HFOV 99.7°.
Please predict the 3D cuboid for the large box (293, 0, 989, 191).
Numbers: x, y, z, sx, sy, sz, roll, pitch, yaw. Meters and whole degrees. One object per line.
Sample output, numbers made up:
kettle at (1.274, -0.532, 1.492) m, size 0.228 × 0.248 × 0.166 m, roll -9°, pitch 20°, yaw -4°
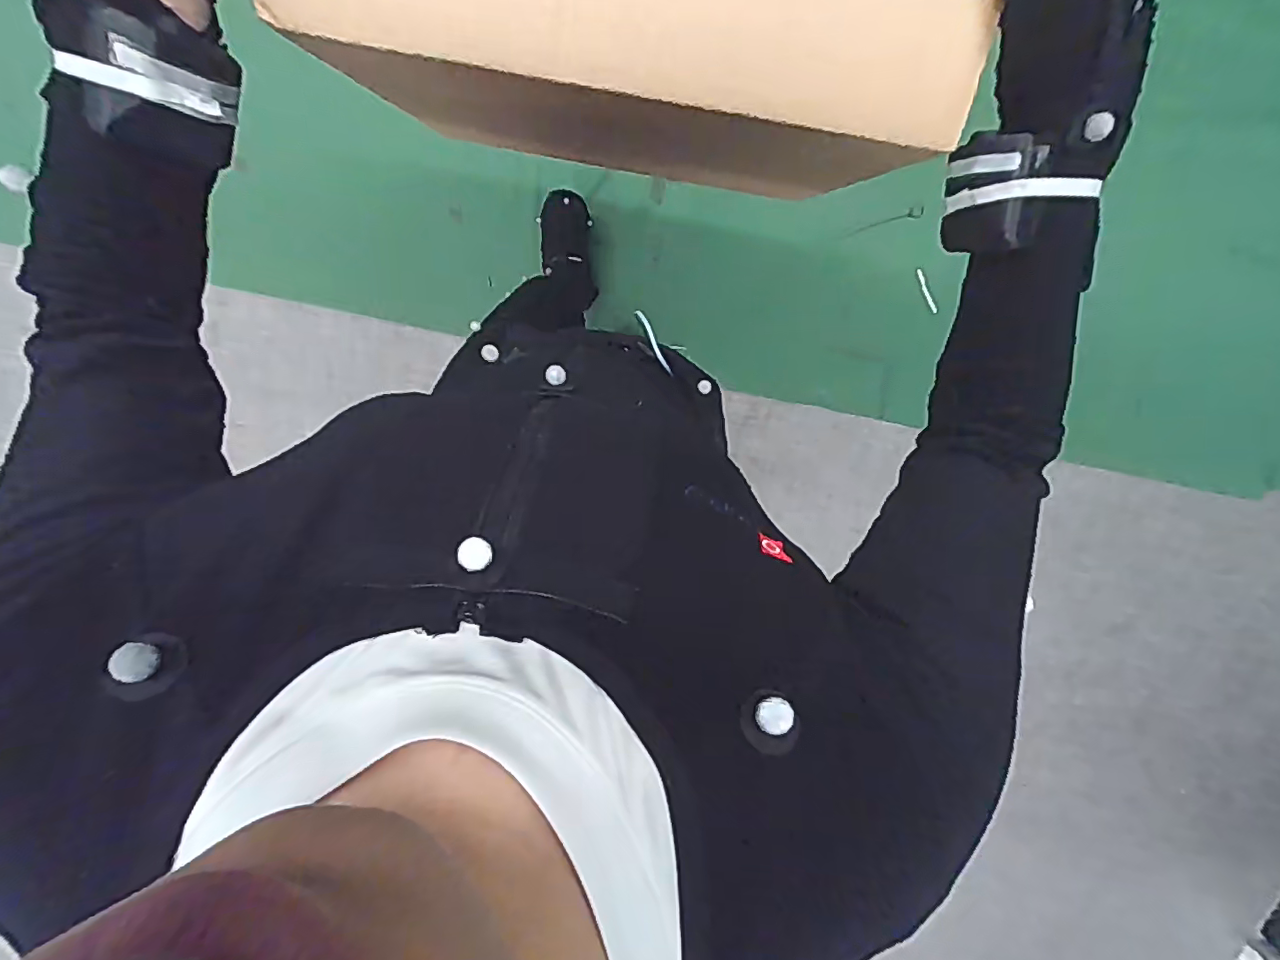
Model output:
large box at (0.013, -0.431, 0.405) m, size 0.408 × 0.320 × 0.320 m, roll 7°, pitch 113°, yaw -4°
